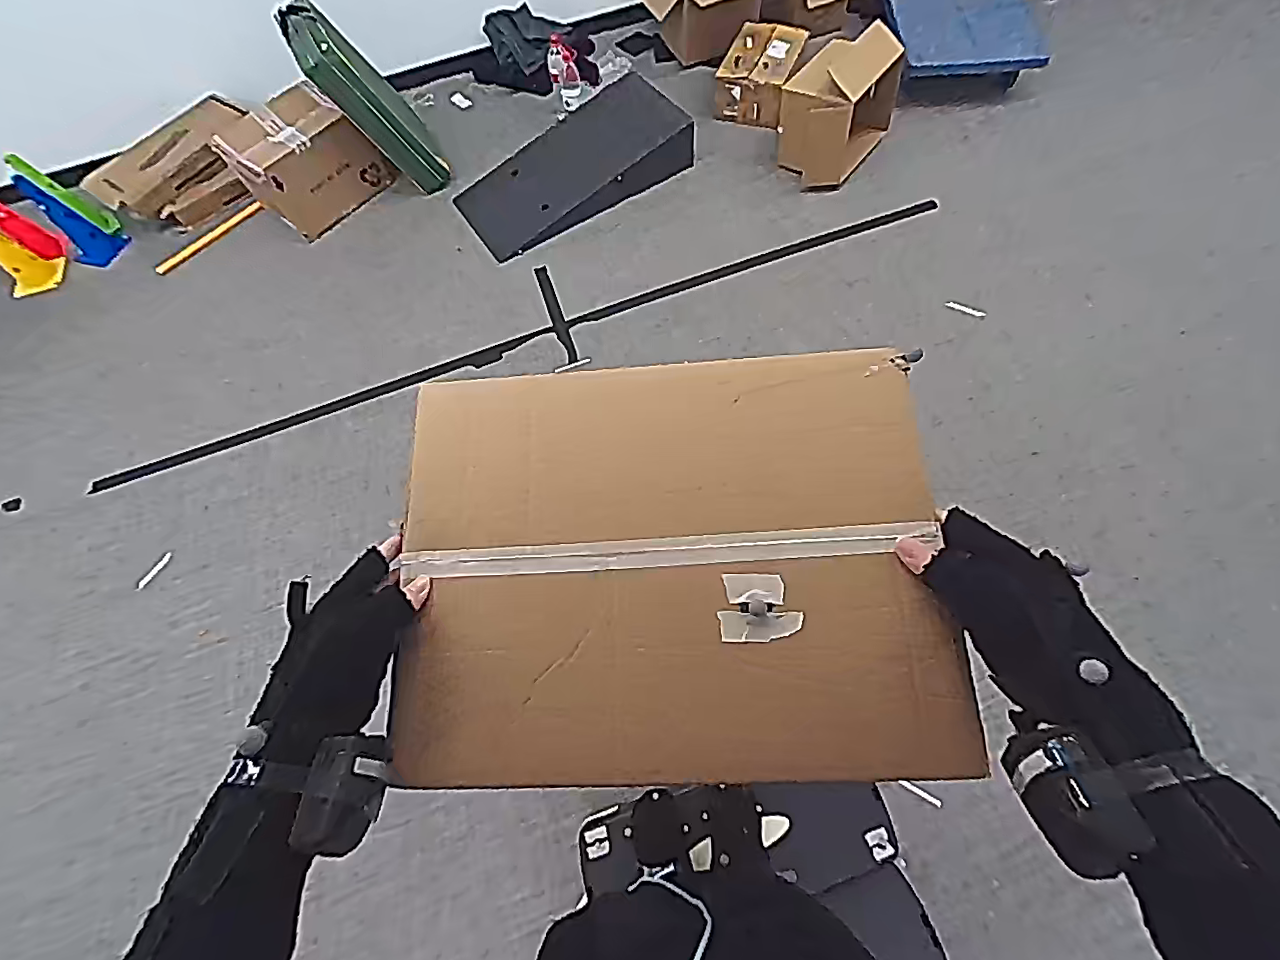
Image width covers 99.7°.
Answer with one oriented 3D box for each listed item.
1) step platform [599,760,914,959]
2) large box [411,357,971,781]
[{"bbox_3d":[0.253,0.799,1.244,0.684,0.204,0.286,-20,64,-5],"label":"step platform"},{"bbox_3d":[0.034,0.101,0.564,0.408,0.320,0.320,-4,73,4],"label":"large box"}]
